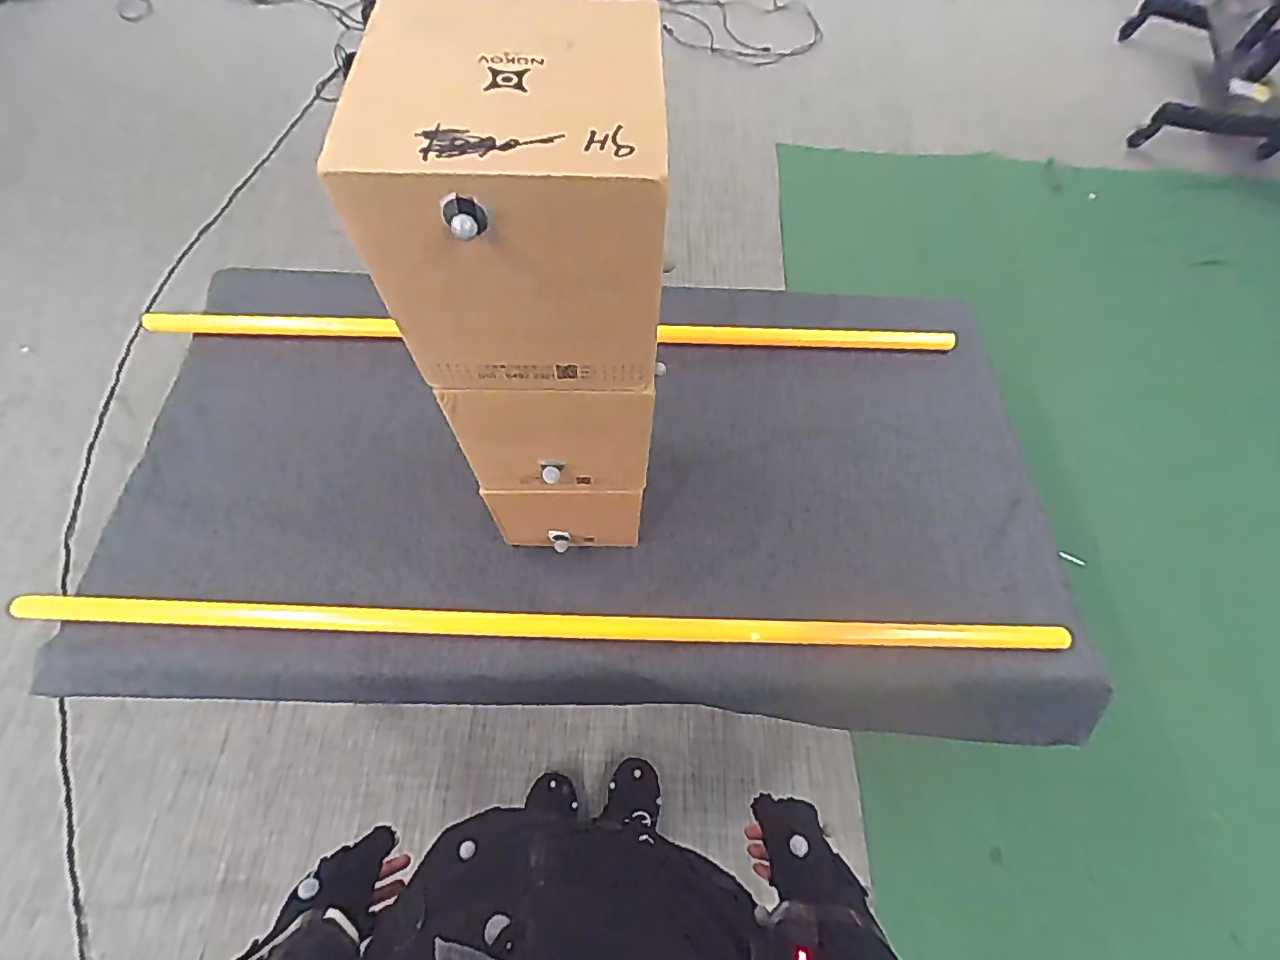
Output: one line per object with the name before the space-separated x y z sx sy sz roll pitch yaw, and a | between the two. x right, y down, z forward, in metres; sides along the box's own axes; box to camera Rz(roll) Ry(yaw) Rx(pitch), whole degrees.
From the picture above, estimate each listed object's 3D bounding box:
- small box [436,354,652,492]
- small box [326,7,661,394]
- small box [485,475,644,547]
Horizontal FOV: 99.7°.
small box | -0.075 -0.104 0.516 0.168 0.176 0.179 0 63 -1
small box | -0.073 -0.180 0.372 0.168 0.176 0.179 0 62 -1
small box | -0.082 -0.028 0.662 0.168 0.176 0.179 -1 64 -2
